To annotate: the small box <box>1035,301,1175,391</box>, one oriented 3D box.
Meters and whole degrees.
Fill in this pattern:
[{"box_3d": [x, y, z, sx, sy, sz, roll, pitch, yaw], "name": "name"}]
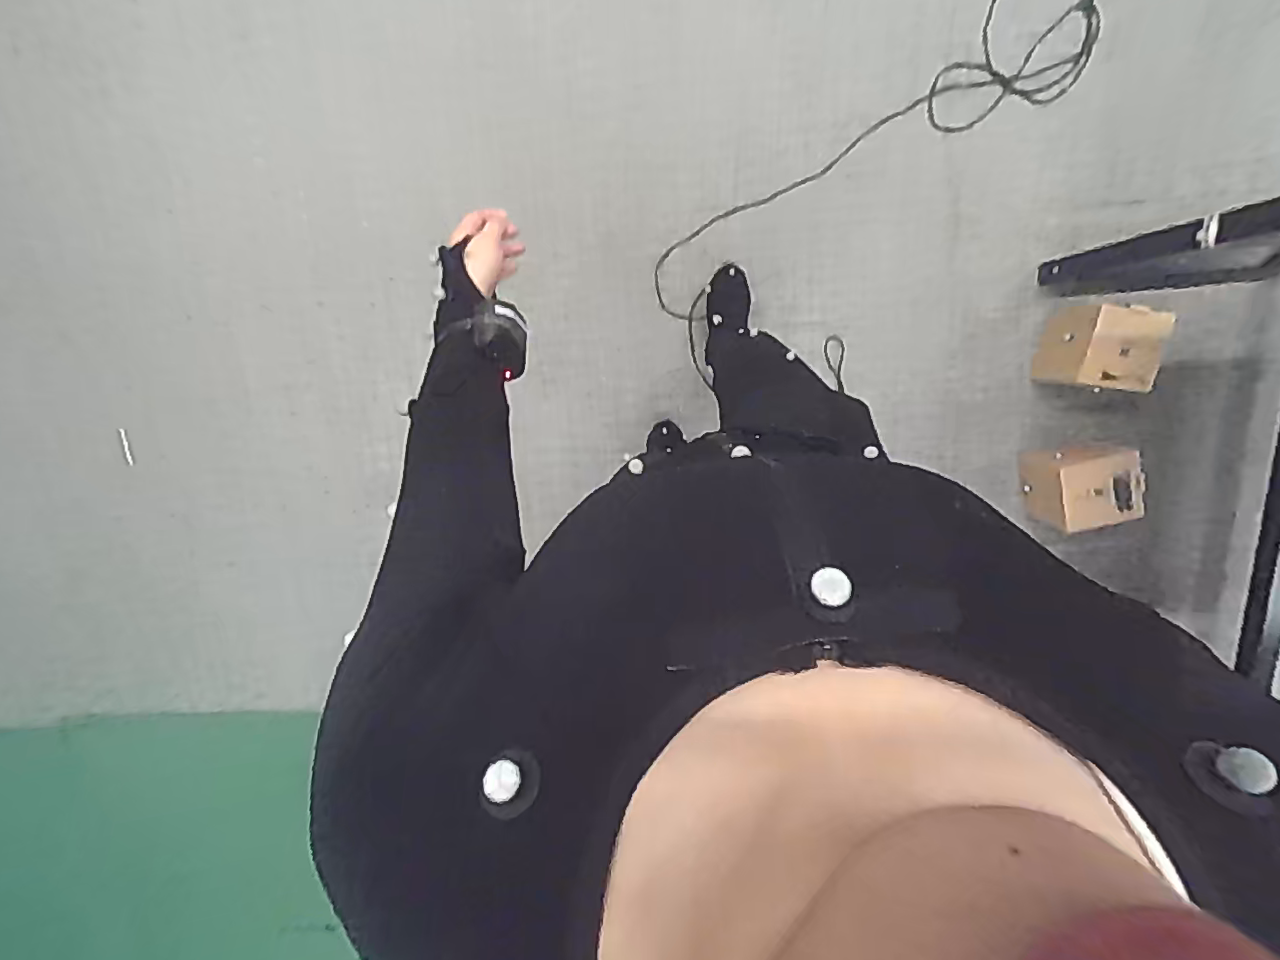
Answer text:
[{"box_3d": [1.078, -0.310, 1.272, 0.168, 0.176, 0.179, 9, 102, 2], "name": "small box"}]
